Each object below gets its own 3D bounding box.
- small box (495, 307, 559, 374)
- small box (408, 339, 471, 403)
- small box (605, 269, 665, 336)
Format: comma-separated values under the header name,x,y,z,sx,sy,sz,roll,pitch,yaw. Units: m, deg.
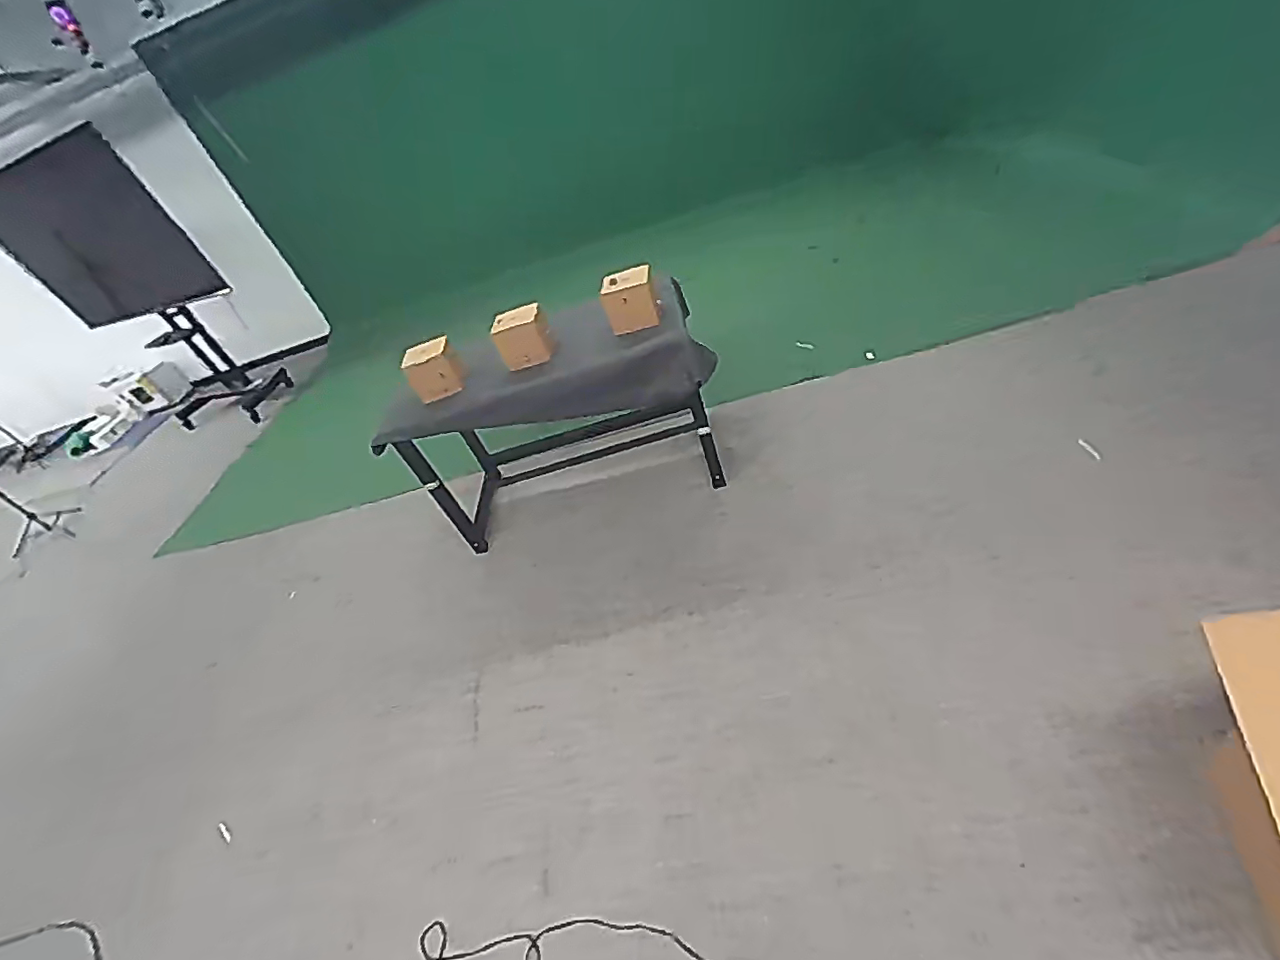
name,x,y,z,sx,sy,sz,roll,pitch,yaw
small box,-0.426,-0.535,2.075,0.179,0.176,0.168,-13,39,10
small box,-0.775,-0.417,2.106,0.168,0.176,0.179,-19,36,1
small box,-0.016,-0.658,2.018,0.179,0.176,0.168,-11,40,14
